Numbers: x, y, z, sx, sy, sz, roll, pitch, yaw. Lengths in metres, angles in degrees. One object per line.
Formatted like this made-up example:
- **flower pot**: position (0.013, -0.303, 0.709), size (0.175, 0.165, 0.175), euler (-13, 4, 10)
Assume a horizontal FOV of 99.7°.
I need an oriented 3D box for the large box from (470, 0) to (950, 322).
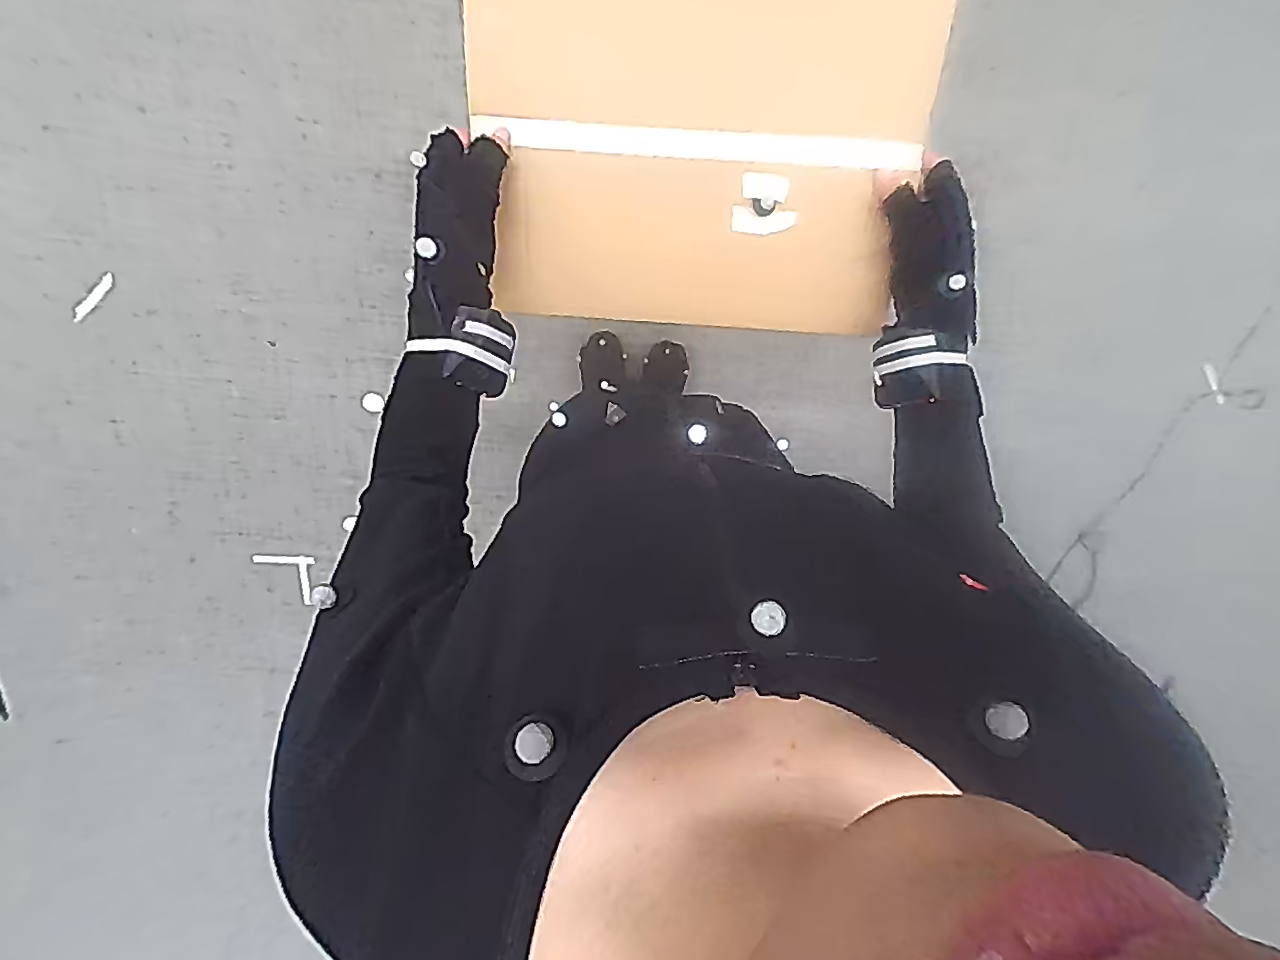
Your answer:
- **large box**: position (0.053, -0.363, 0.620), size (0.408, 0.320, 0.320), euler (3, 113, -1)
